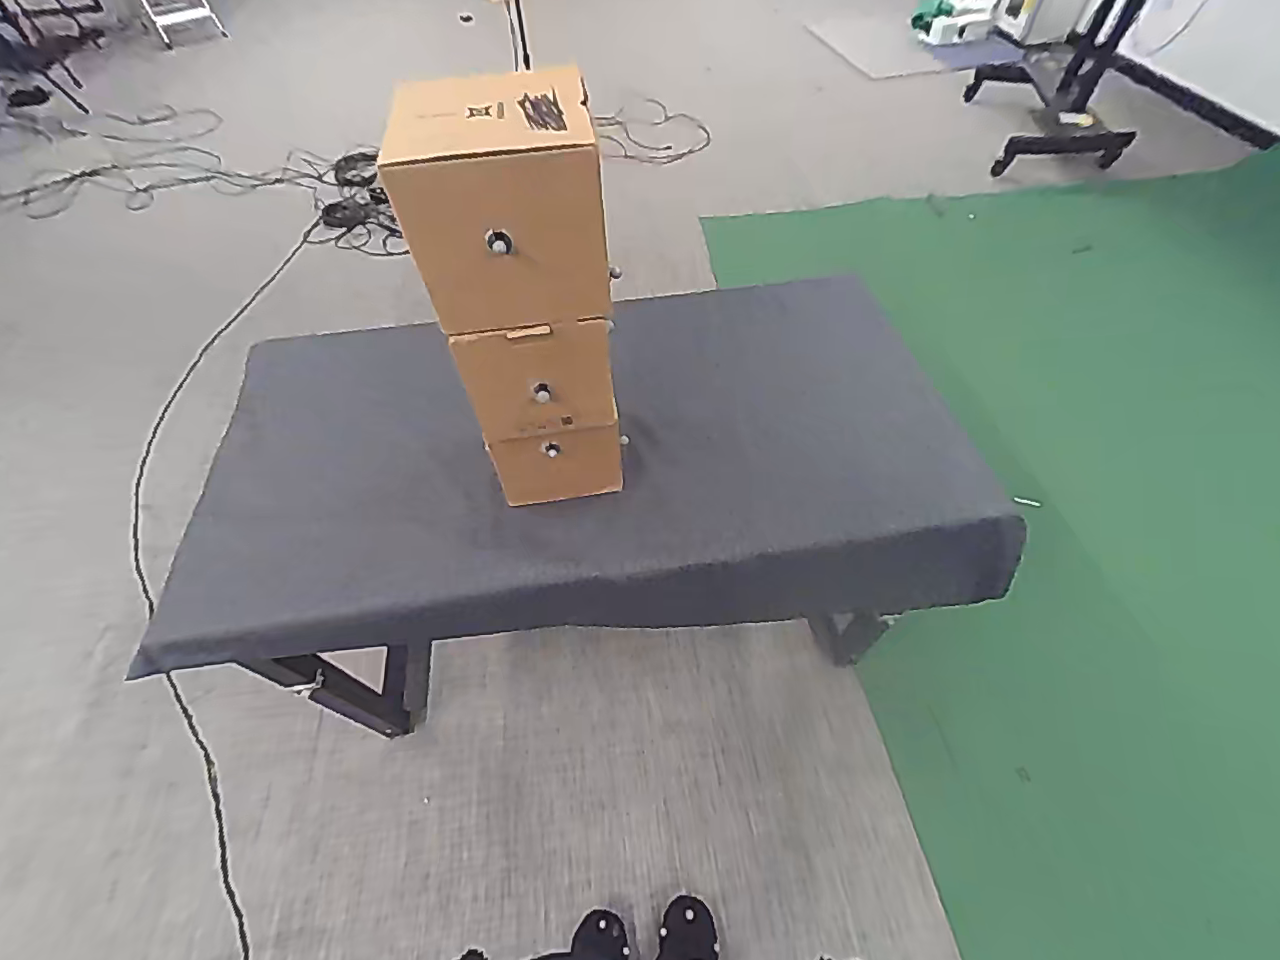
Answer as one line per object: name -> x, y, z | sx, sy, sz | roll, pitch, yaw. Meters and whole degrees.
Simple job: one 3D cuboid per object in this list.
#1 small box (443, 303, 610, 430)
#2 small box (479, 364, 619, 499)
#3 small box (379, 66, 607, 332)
small box -> -0.131, -0.176, 0.664 | 0.168, 0.176, 0.179 | -9, 56, -4
small box -> -0.129, -0.086, 0.801 | 0.179, 0.176, 0.168 | -7, 56, -5
small box -> -0.128, -0.268, 0.527 | 0.179, 0.176, 0.168 | -9, 55, -7
